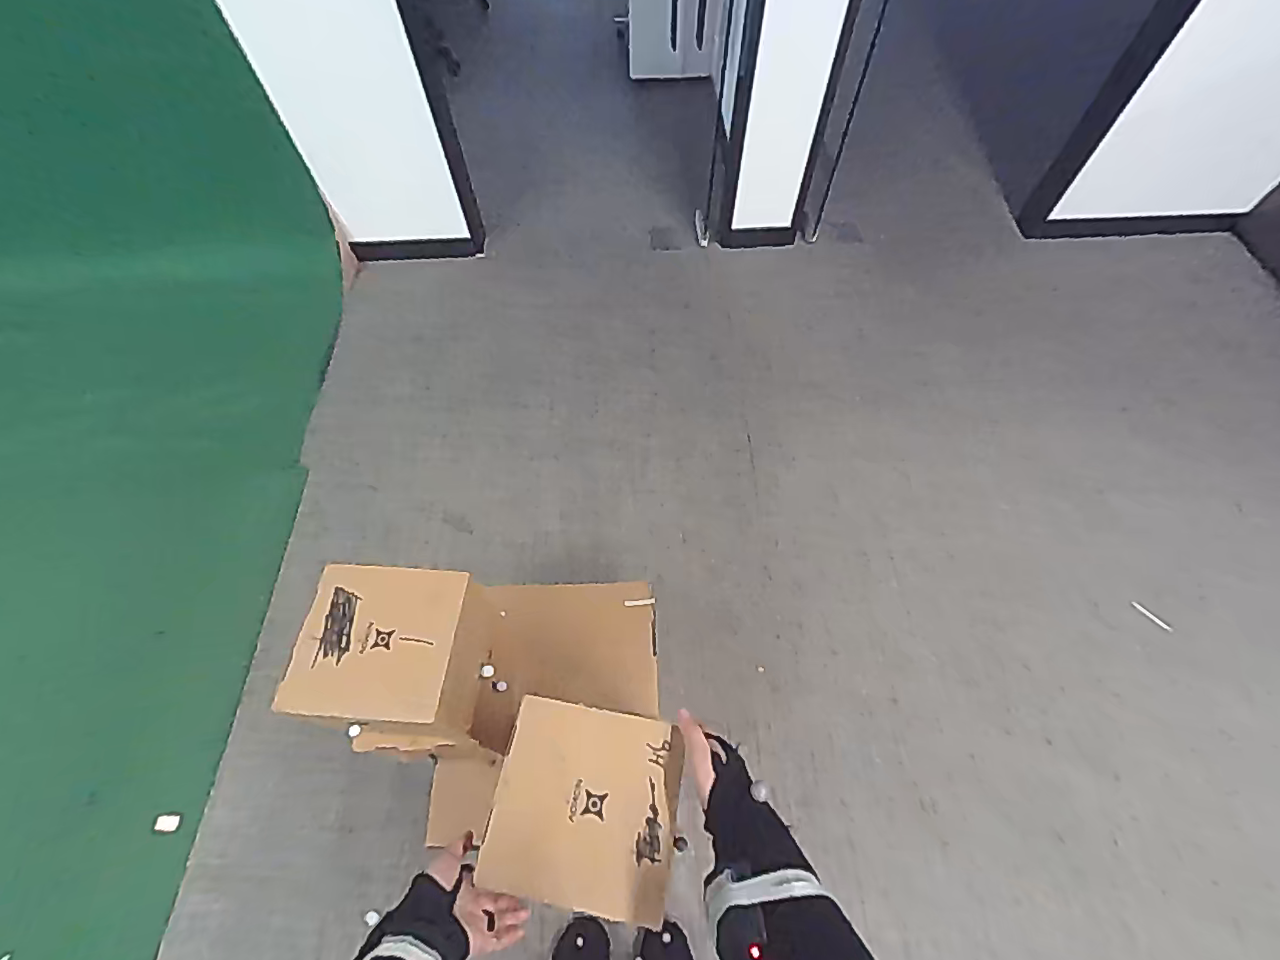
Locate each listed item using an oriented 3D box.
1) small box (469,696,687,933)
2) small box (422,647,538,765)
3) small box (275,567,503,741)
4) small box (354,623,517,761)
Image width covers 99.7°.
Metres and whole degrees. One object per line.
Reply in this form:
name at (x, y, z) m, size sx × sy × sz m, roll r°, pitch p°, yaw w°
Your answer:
small box at (-0.051, 0.349, 0.581) m, size 0.179 × 0.176 × 0.168 m, roll 9°, pitch 60°, yaw 7°
small box at (-0.279, 0.396, 0.940) m, size 0.179 × 0.176 × 0.168 m, roll -3°, pitch 58°, yaw -1°
small box at (-0.286, 0.219, 0.664) m, size 0.179 × 0.176 × 0.168 m, roll 3°, pitch 59°, yaw 3°
small box at (-0.285, 0.312, 0.800) m, size 0.168 × 0.176 × 0.179 m, roll -1°, pitch 59°, yaw 0°
